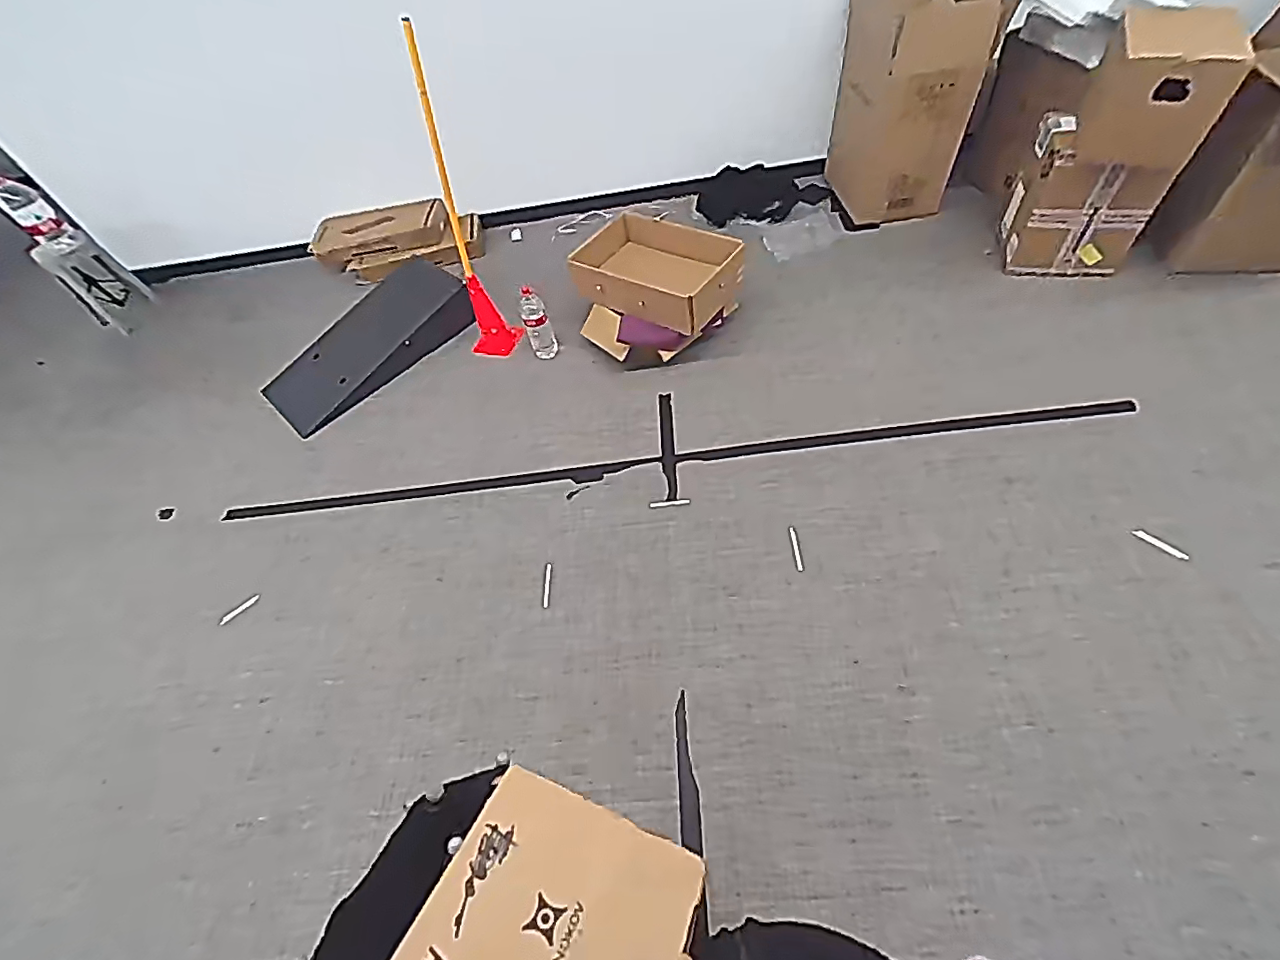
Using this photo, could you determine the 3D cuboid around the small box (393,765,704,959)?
[{"bbox_3d":[-0.071,0.371,0.420,0.179,0.176,0.168,20,36,12],"label":"small box"}]
